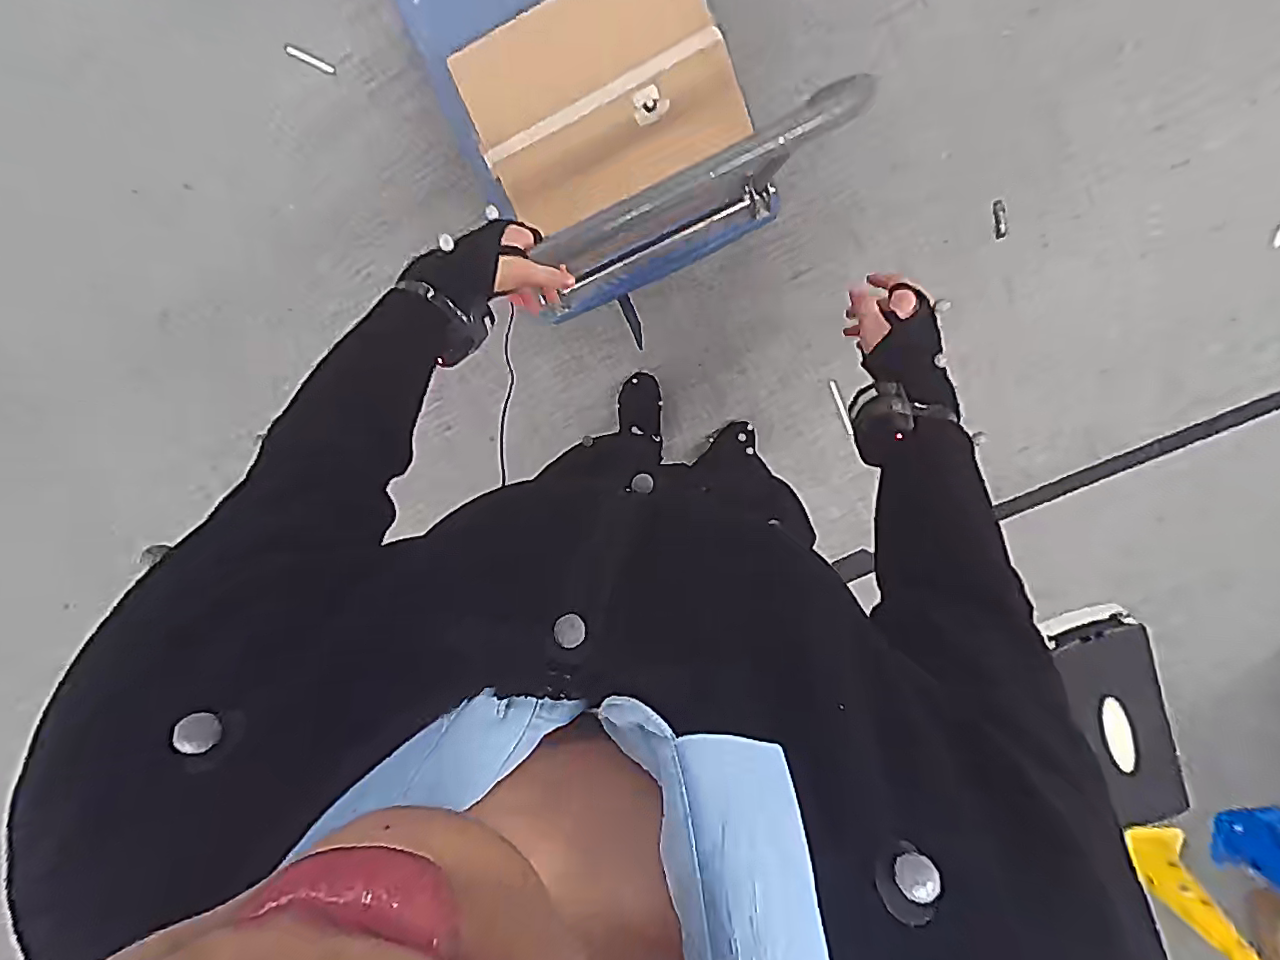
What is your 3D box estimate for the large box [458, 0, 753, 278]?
[{"bbox_3d":[-0.050,-0.629,1.015,0.408,0.320,0.320,-23,102,8],"label":"large box"}]
